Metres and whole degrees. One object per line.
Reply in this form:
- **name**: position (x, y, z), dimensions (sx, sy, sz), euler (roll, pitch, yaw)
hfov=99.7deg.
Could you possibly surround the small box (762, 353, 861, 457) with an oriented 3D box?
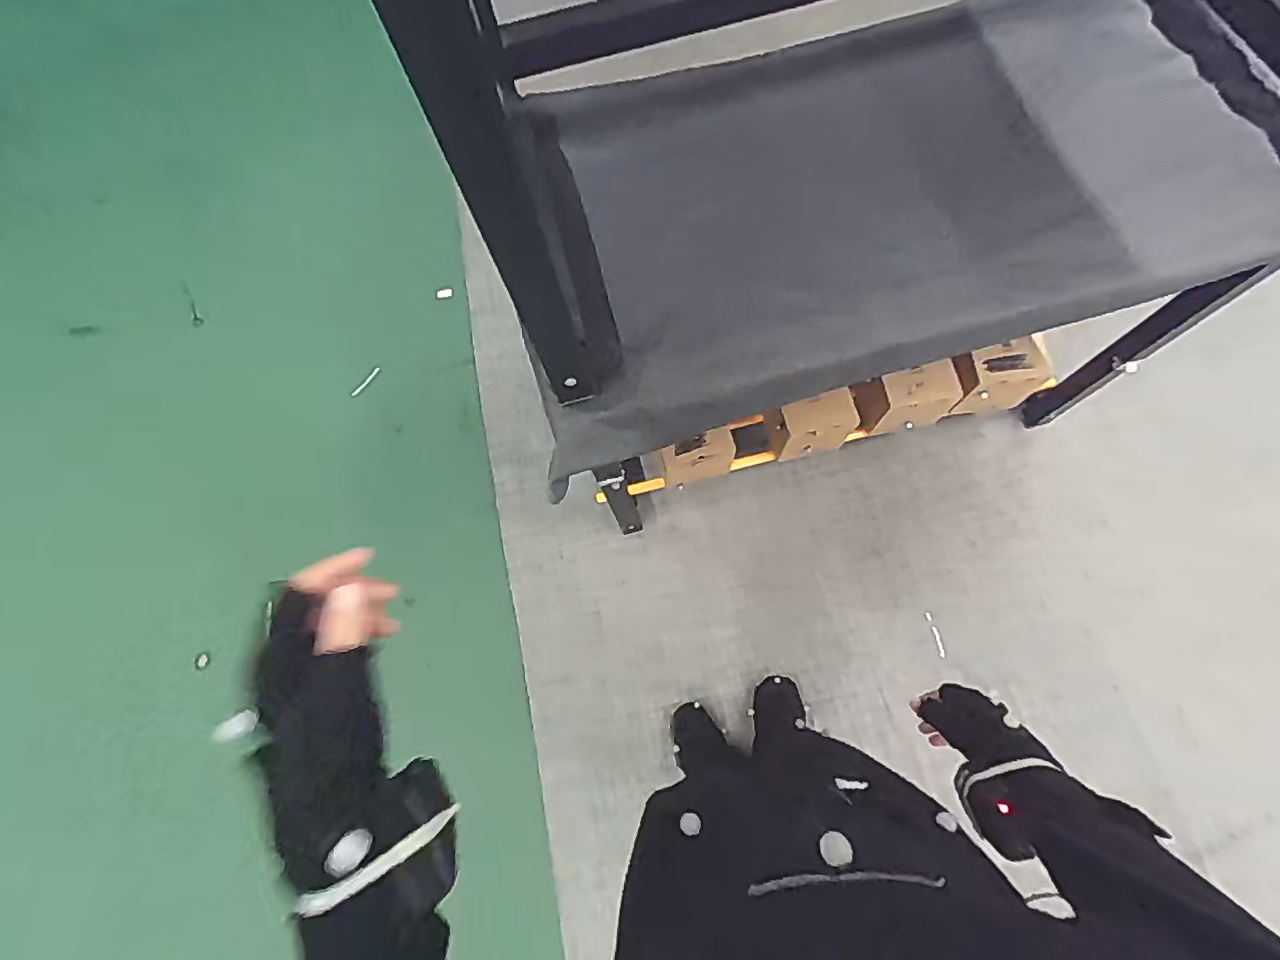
- **small box**: position (0.403, -0.176, 1.308), dimensions (0.168, 0.176, 0.179), euler (-13, 73, 1)
